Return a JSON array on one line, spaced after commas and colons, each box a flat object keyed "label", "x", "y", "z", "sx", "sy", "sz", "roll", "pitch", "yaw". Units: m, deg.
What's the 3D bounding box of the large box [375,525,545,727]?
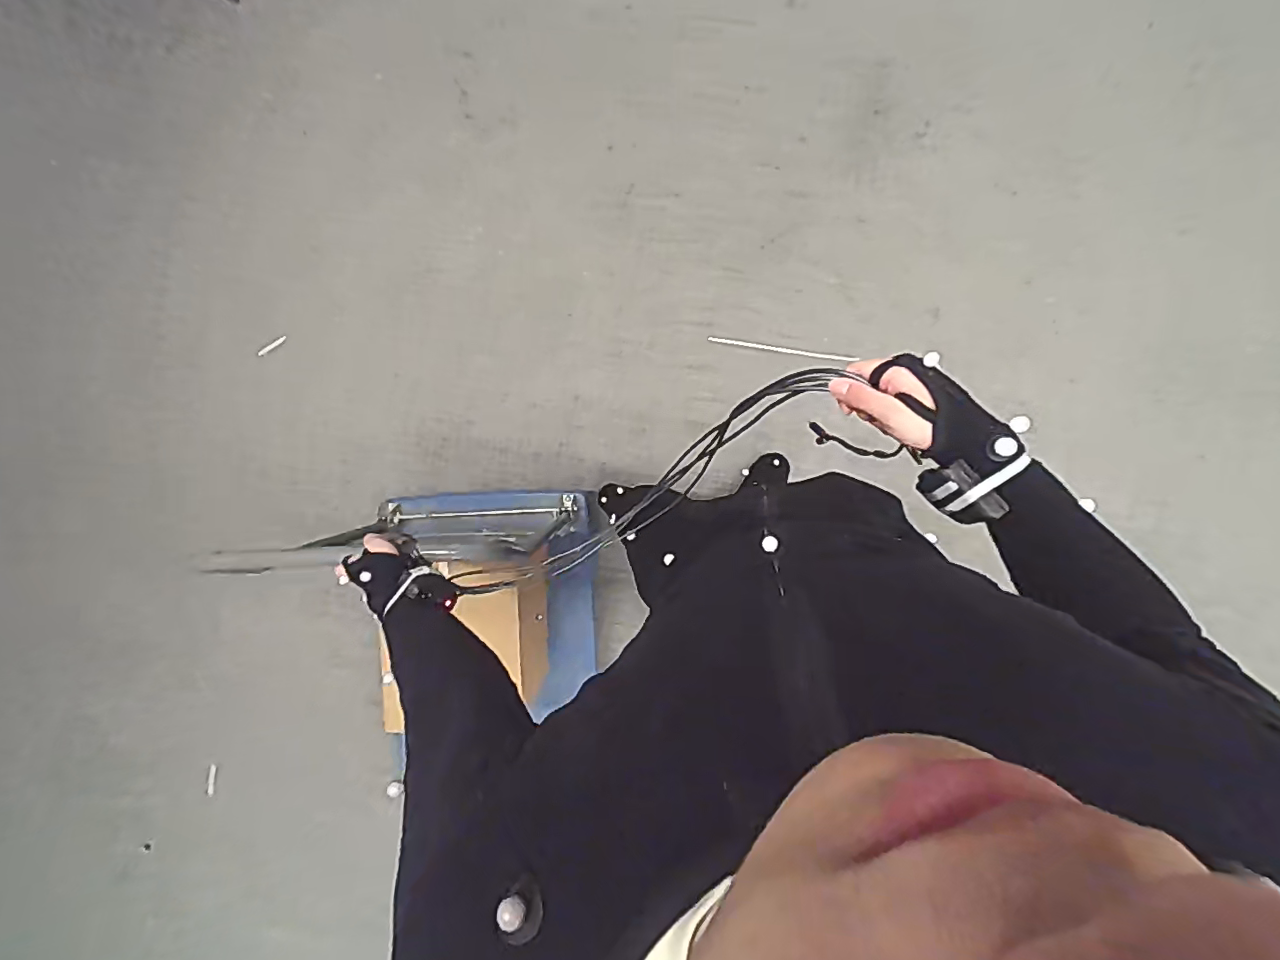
[{"label": "large box", "x": -0.417, "y": 0.334, "z": 1.332, "sx": 0.320, "sy": 0.320, "sz": 0.408, "roll": -1, "pitch": 94, "yaw": 1}]
